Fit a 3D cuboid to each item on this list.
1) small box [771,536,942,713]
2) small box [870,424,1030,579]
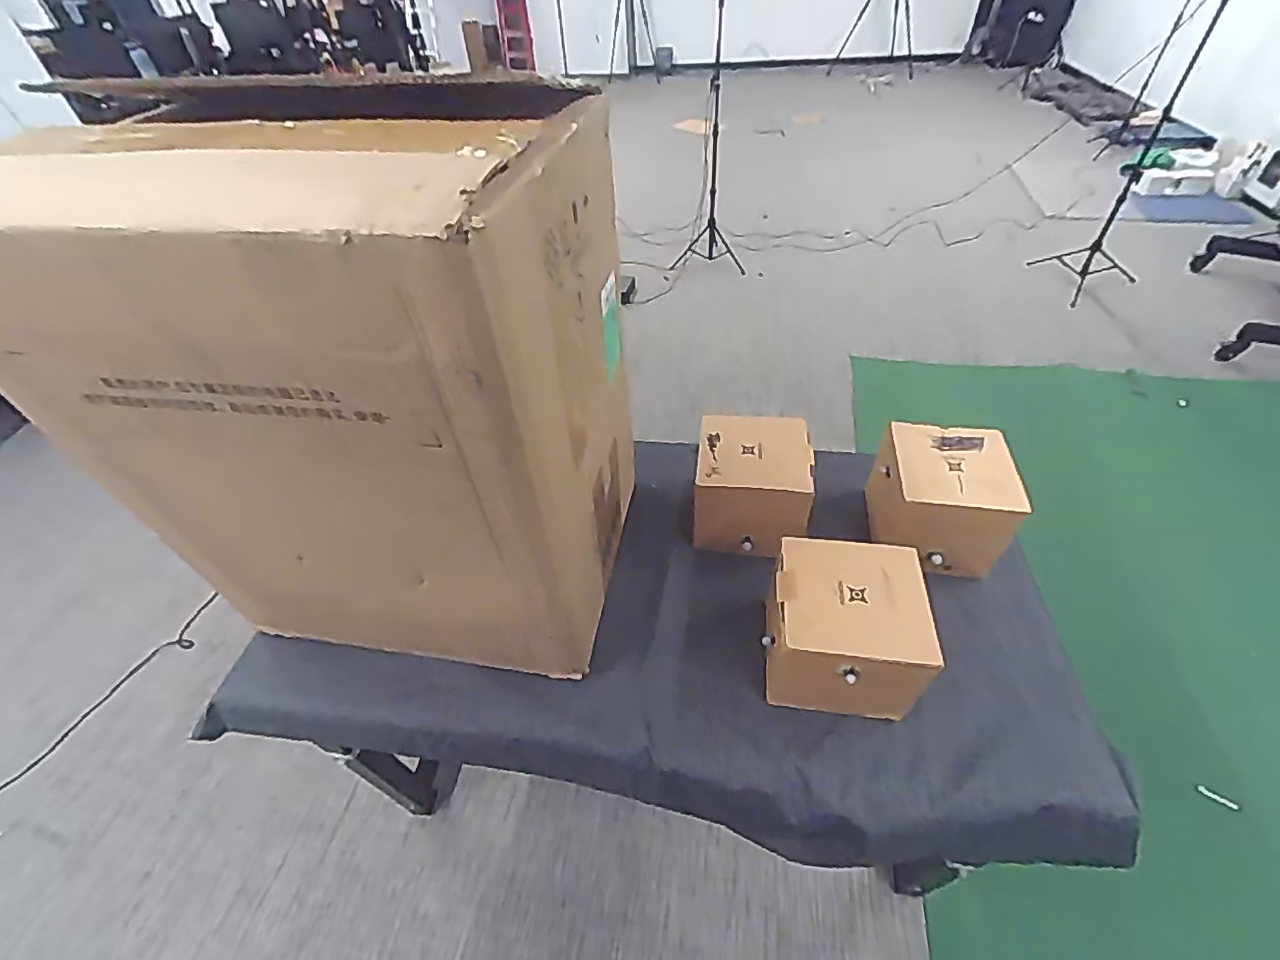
[{"bbox_3d":[0.273,0.197,0.732,0.179,0.176,0.168,5,47,8],"label":"small box"},{"bbox_3d":[0.481,0.034,0.873,0.168,0.176,0.179,6,47,10],"label":"small box"}]
